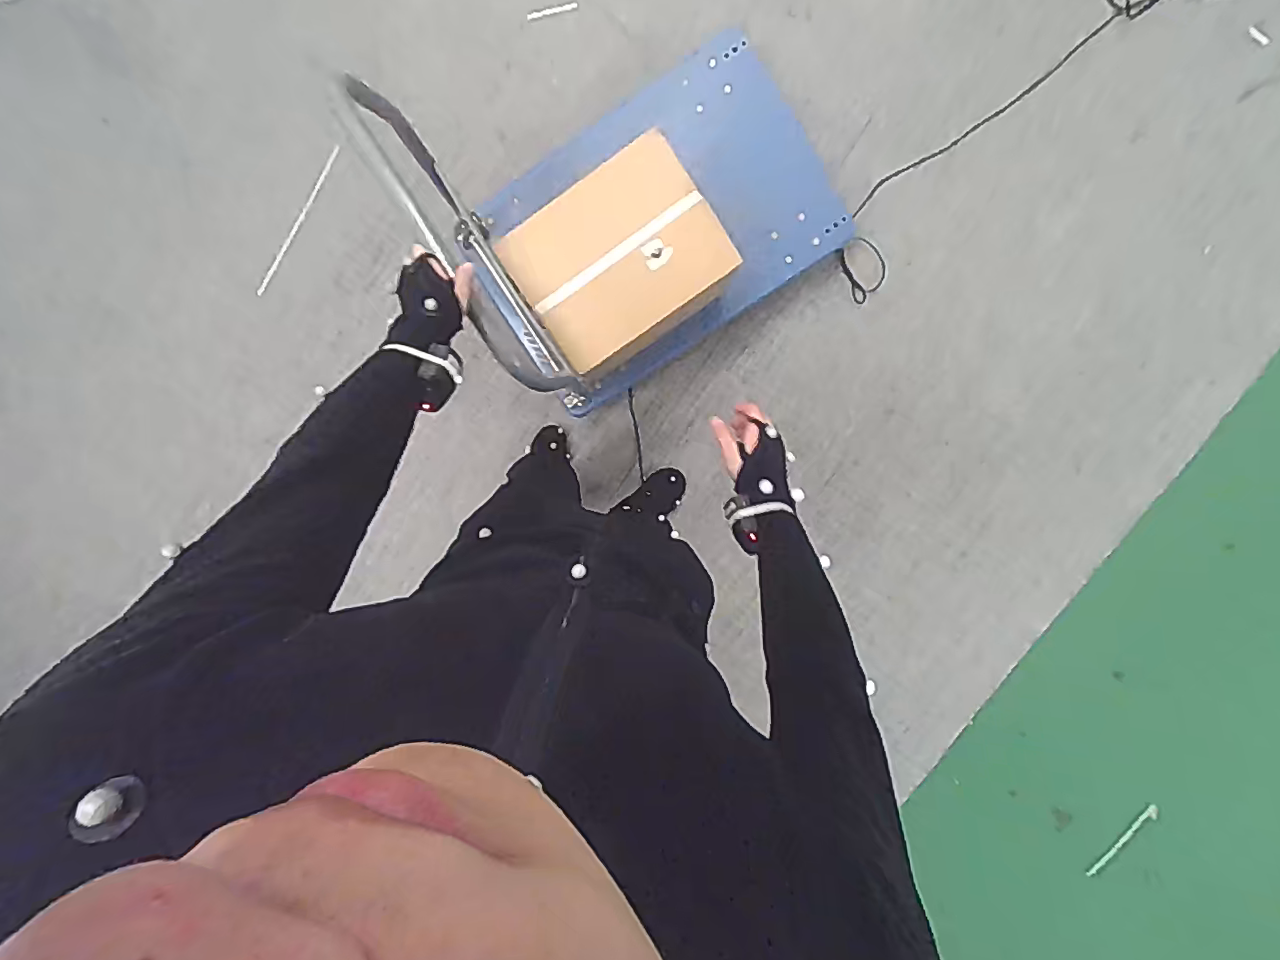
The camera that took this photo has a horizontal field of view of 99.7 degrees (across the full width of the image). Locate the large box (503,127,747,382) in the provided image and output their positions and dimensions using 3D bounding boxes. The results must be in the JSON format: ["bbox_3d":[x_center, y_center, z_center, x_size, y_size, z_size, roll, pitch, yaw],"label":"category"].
[{"bbox_3d":[-0.032,-0.469,1.225,0.408,0.320,0.320,-34,97,3],"label":"large box"}]
